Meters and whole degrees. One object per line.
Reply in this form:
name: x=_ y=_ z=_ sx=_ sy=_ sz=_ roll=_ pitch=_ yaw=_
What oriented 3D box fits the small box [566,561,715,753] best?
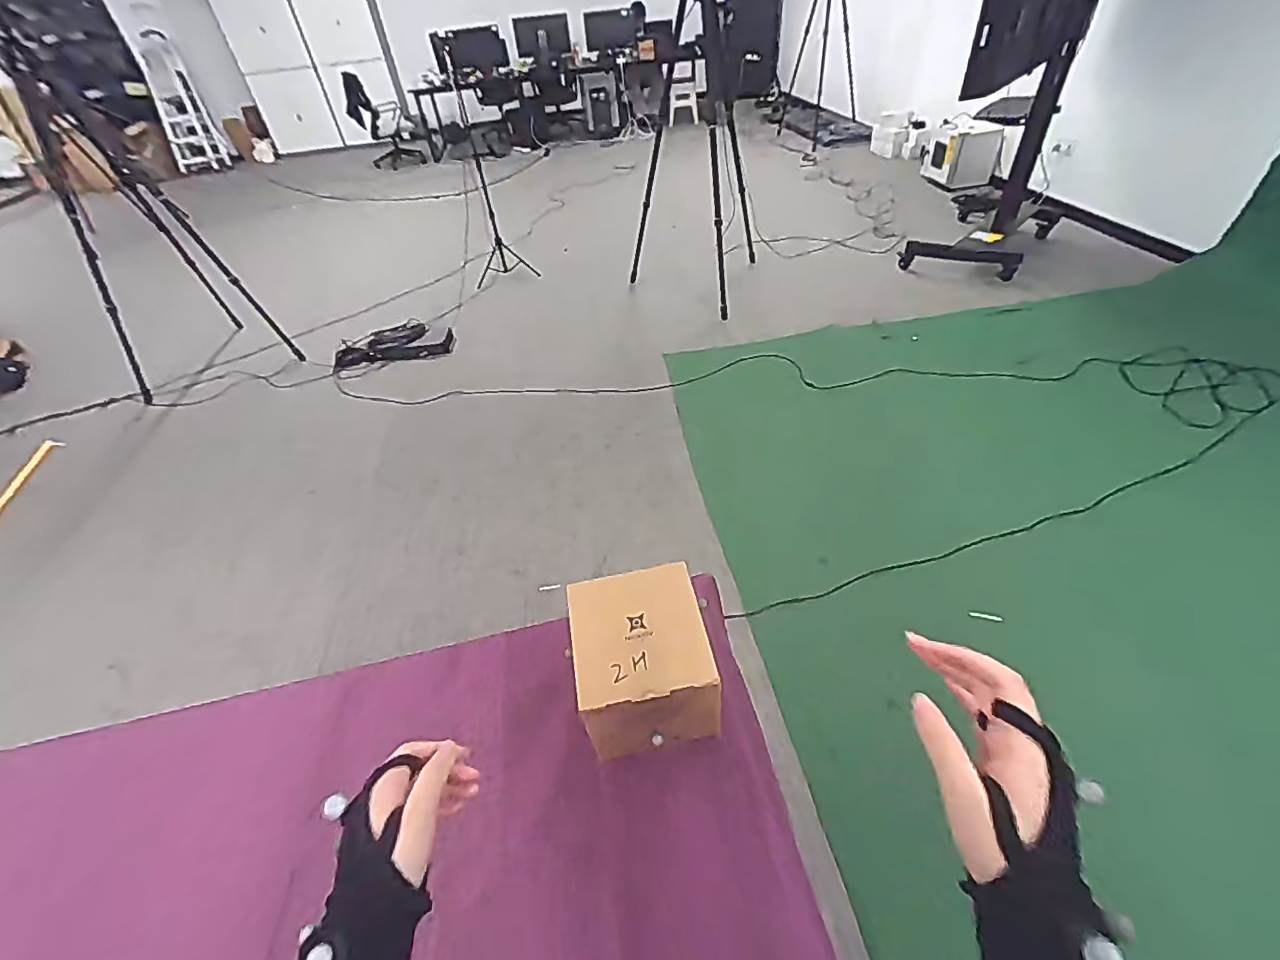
small box: x=-0.001 y=0.239 z=0.731 sx=0.168 sy=0.176 sz=0.179 roll=-11 pitch=46 yaw=-3
